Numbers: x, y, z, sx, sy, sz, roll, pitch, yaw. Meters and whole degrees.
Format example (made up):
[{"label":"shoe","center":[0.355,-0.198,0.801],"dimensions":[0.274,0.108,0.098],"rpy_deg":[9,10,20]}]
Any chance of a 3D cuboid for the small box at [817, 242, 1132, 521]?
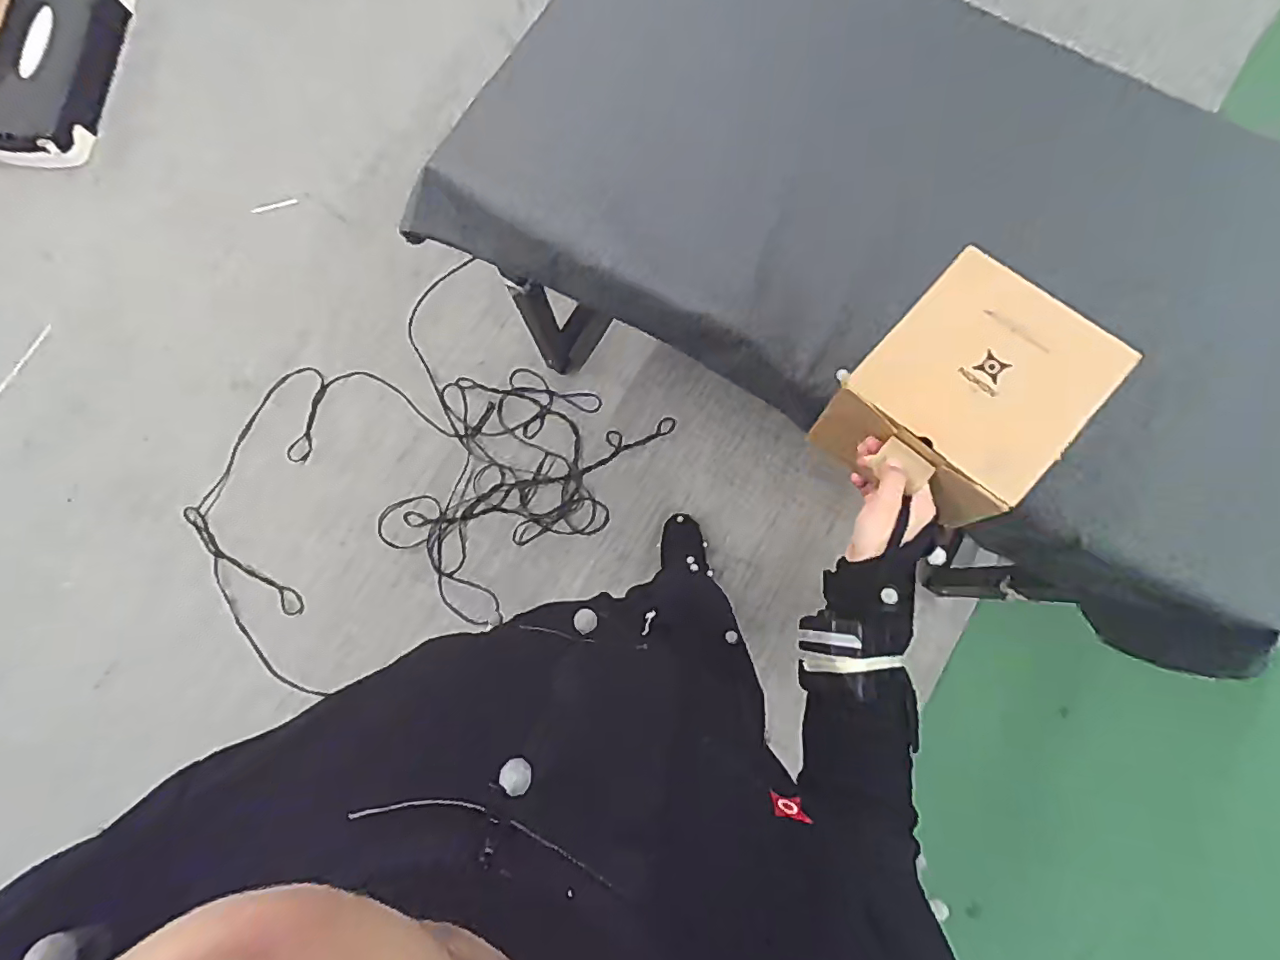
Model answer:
[{"label":"small box","center":[0.297,-0.080,0.529],"dimensions":[0.168,0.176,0.179],"rpy_deg":[41,84,12]}]
